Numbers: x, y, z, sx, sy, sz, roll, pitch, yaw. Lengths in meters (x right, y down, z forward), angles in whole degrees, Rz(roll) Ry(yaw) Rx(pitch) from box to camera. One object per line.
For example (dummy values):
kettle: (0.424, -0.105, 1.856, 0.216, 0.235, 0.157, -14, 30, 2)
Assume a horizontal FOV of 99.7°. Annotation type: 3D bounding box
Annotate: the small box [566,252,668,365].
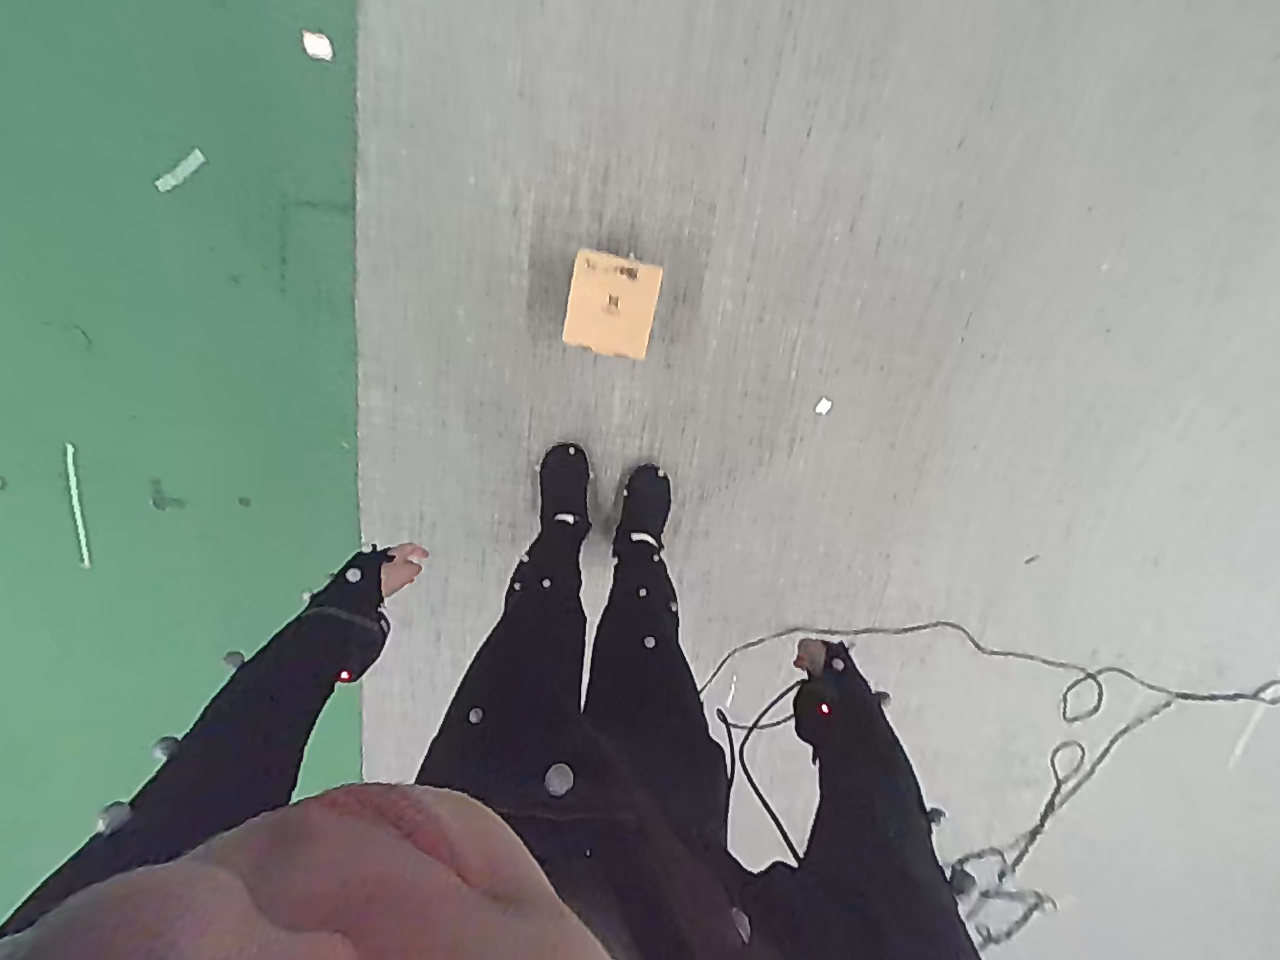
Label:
small box: (-0.045, -0.345, 1.096, 0.168, 0.176, 0.179, 12, 107, -4)
